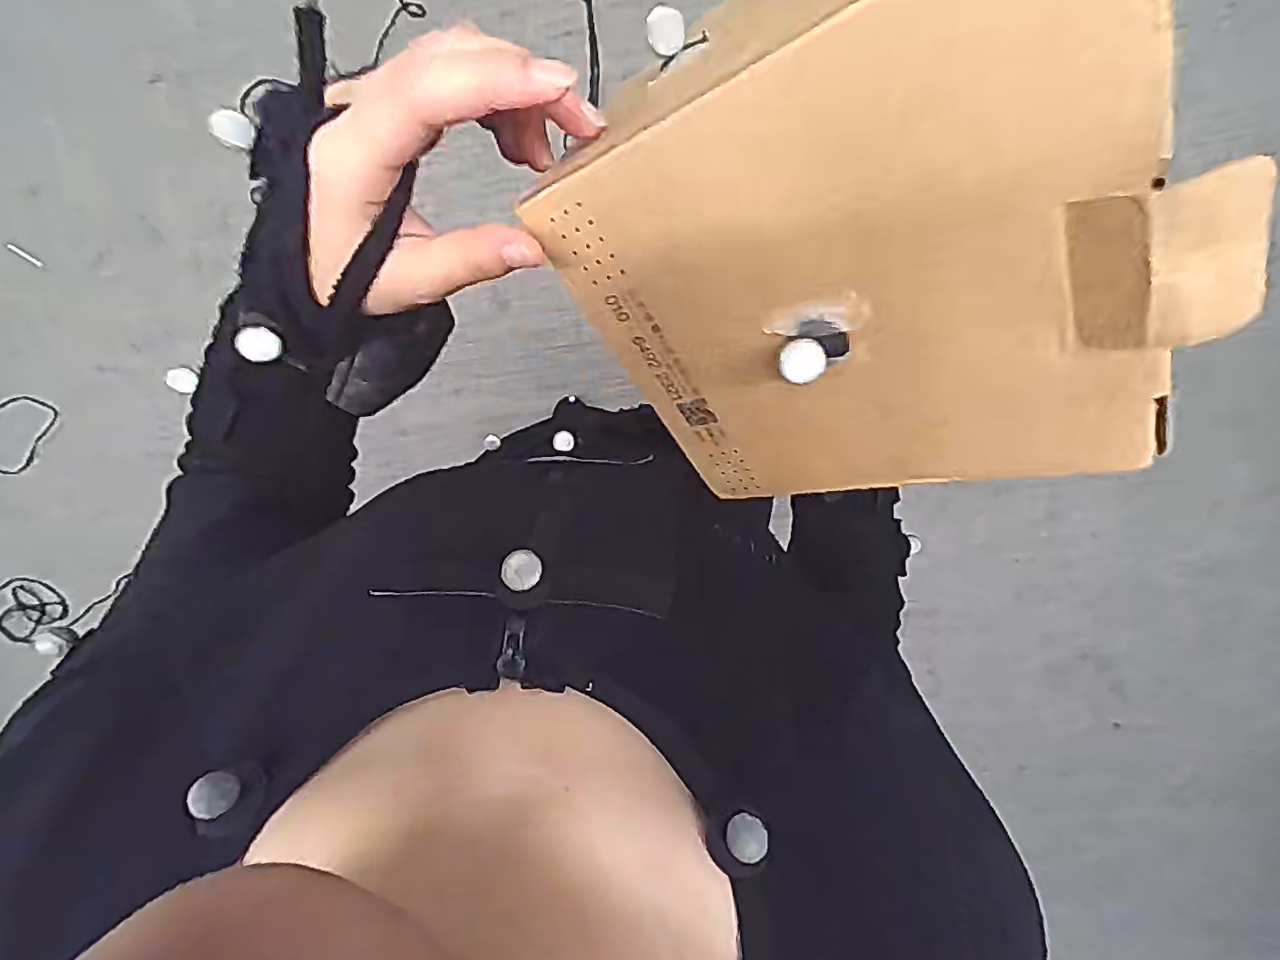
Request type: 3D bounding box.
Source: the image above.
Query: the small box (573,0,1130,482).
[{"bbox_3d":[0.096,-0.114,0.243,0.176,0.179,0.168,-6,138,37],"label":"small box"}]
